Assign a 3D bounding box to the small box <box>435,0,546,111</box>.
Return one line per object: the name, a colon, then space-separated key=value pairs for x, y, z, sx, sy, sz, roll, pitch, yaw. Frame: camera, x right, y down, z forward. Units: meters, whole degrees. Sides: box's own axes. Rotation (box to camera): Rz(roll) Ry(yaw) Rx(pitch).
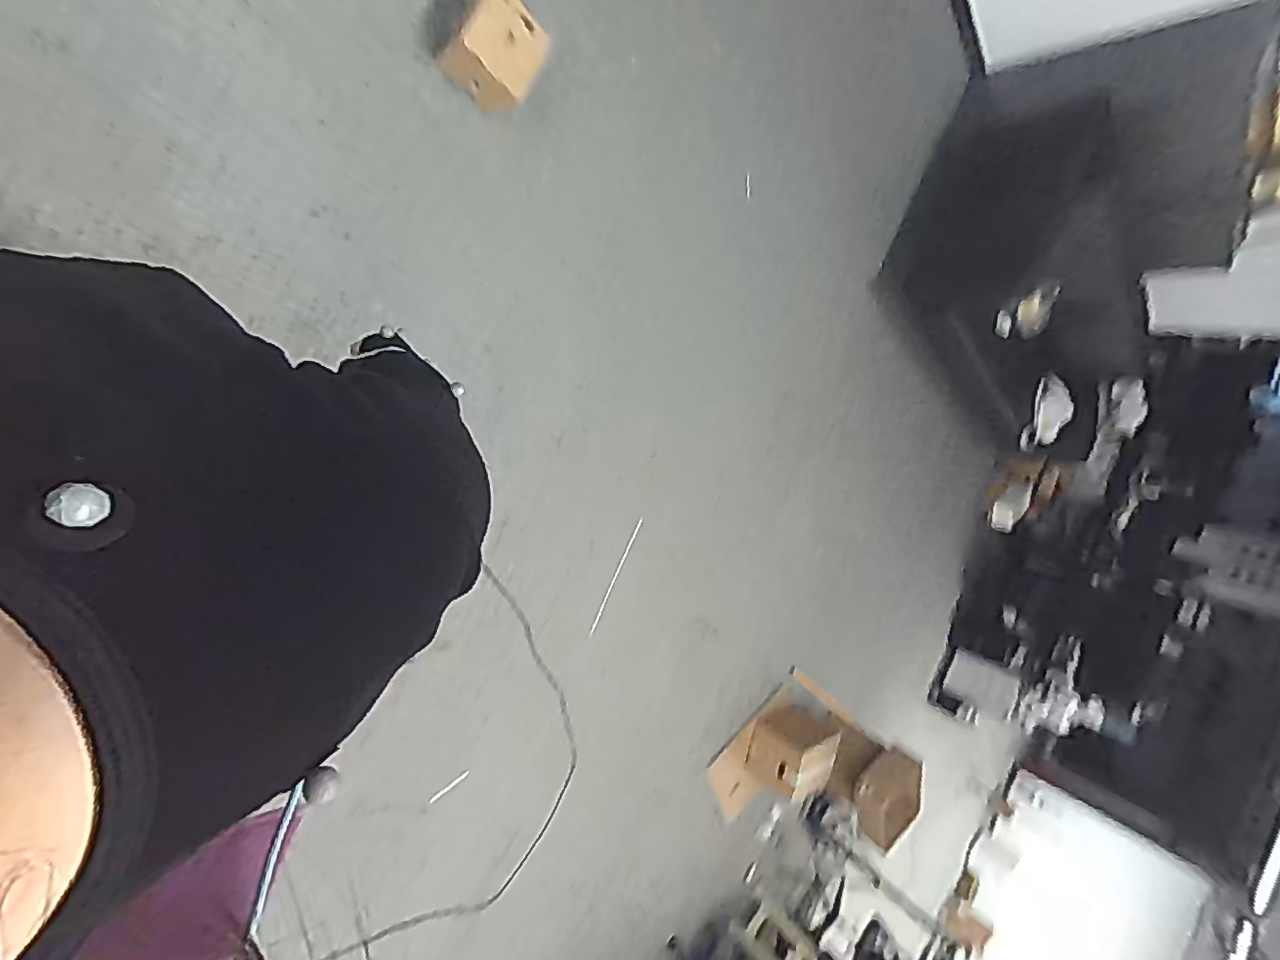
small box: x=-0.361 y=-1.023 z=1.279 sx=0.168 sy=0.176 sz=0.179 roll=30 pitch=85 yaw=-43
